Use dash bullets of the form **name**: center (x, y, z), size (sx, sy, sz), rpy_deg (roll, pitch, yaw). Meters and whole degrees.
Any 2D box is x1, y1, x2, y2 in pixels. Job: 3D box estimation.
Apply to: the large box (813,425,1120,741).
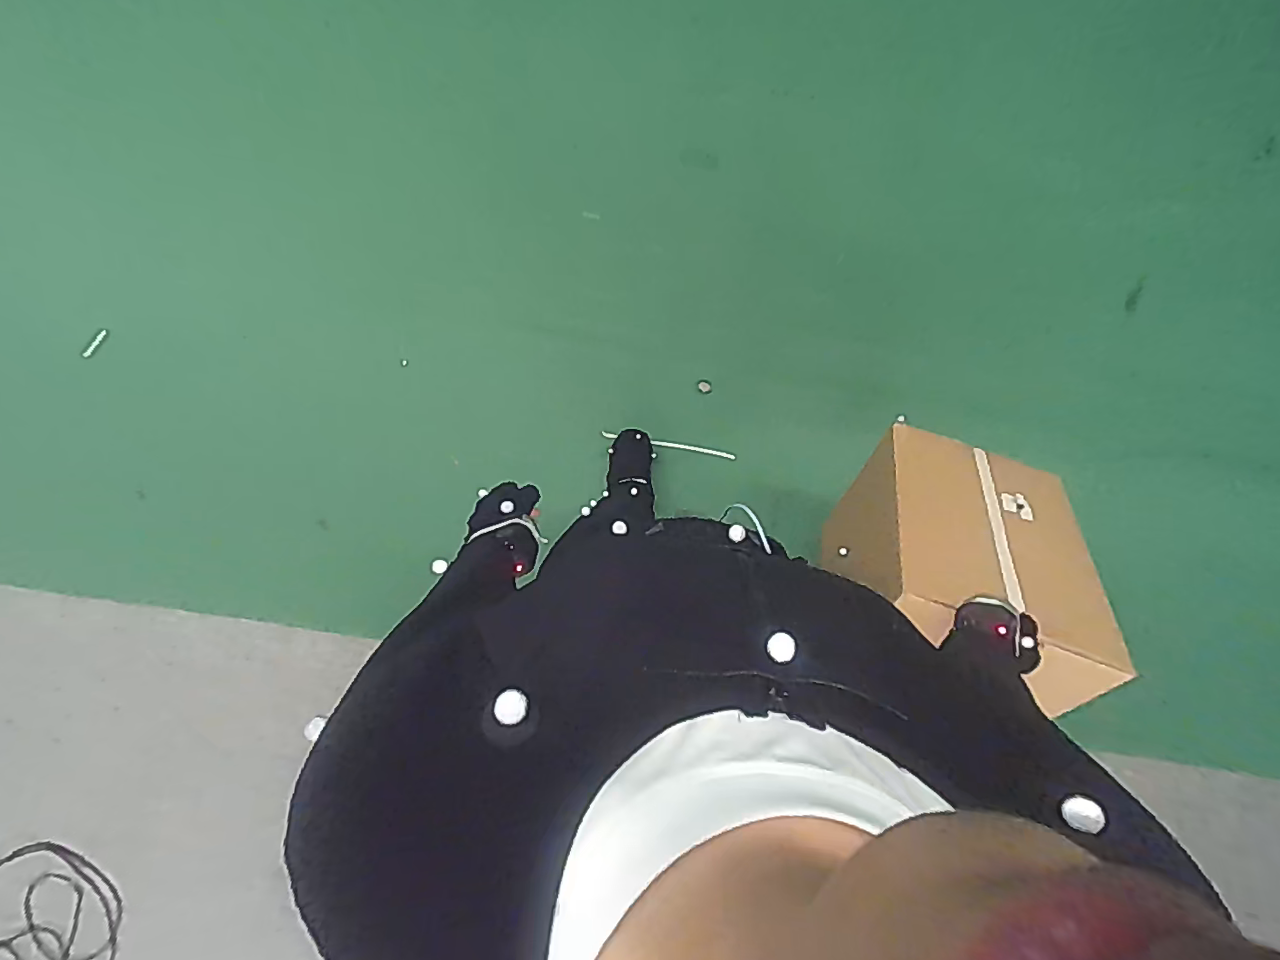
- **large box**: center (0.524, 0.173, 0.971), size (0.320, 0.320, 0.408), rpy_deg (21, 44, 5)
